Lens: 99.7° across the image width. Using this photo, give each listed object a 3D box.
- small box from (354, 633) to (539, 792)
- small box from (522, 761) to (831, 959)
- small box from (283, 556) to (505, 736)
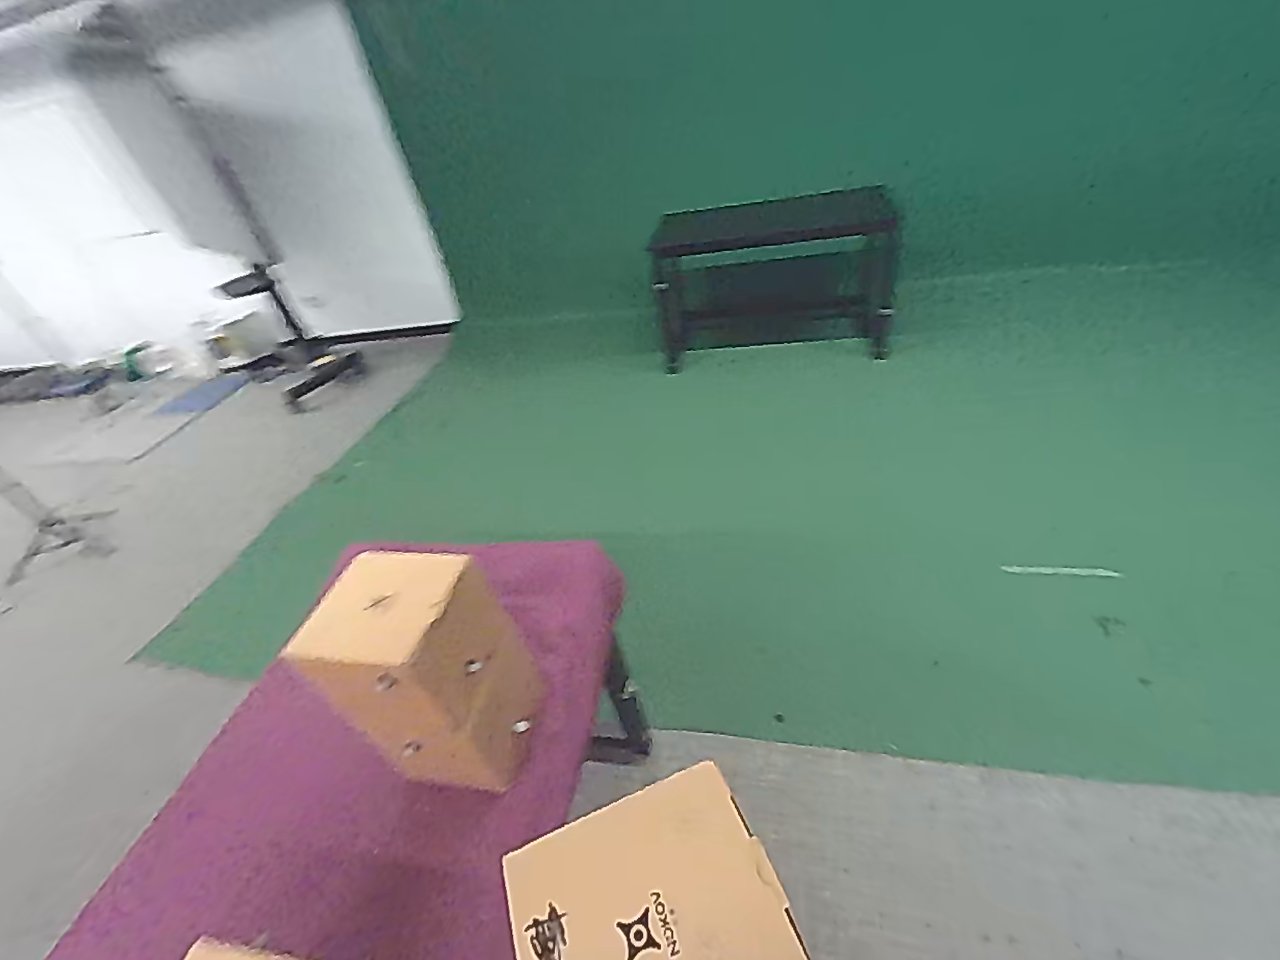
[{"bbox_3d":[-0.276,0.345,0.816,0.179,0.176,0.168,-1,39,15],"label":"small box"},{"bbox_3d":[0.028,0.351,0.397,0.179,0.176,0.168,-17,38,-11],"label":"small box"},{"bbox_3d":[-0.309,0.219,0.719,0.179,0.176,0.168,-1,39,14],"label":"small box"}]
